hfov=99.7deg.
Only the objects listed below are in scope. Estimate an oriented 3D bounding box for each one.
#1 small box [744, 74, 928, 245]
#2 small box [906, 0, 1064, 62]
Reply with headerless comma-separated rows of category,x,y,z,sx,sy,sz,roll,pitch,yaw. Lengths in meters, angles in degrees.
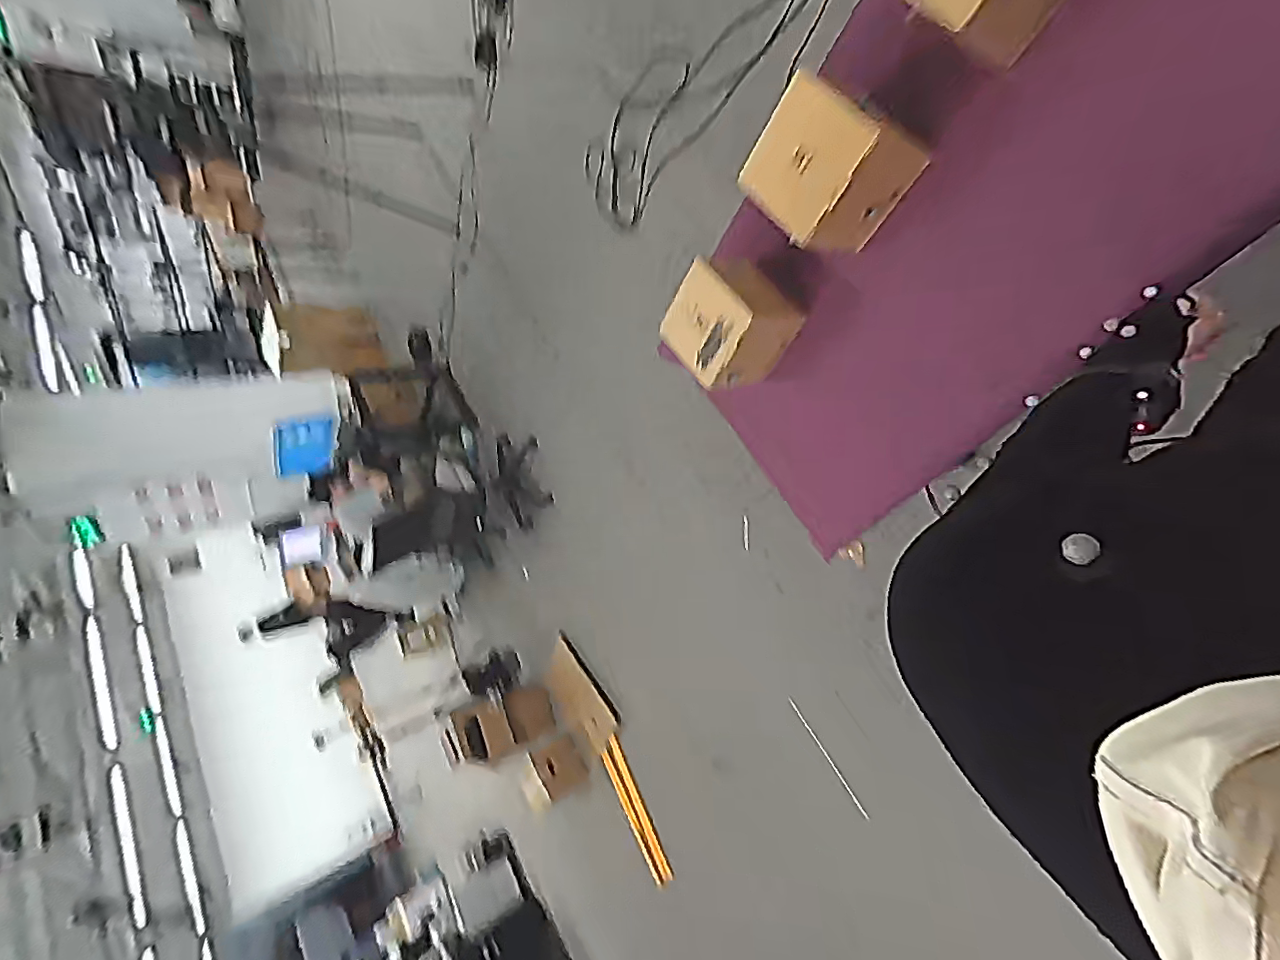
small box,0.308,-0.493,0.857,0.179,0.176,0.168,56,138,21
small box,0.426,-0.652,0.656,0.179,0.176,0.168,57,139,21
